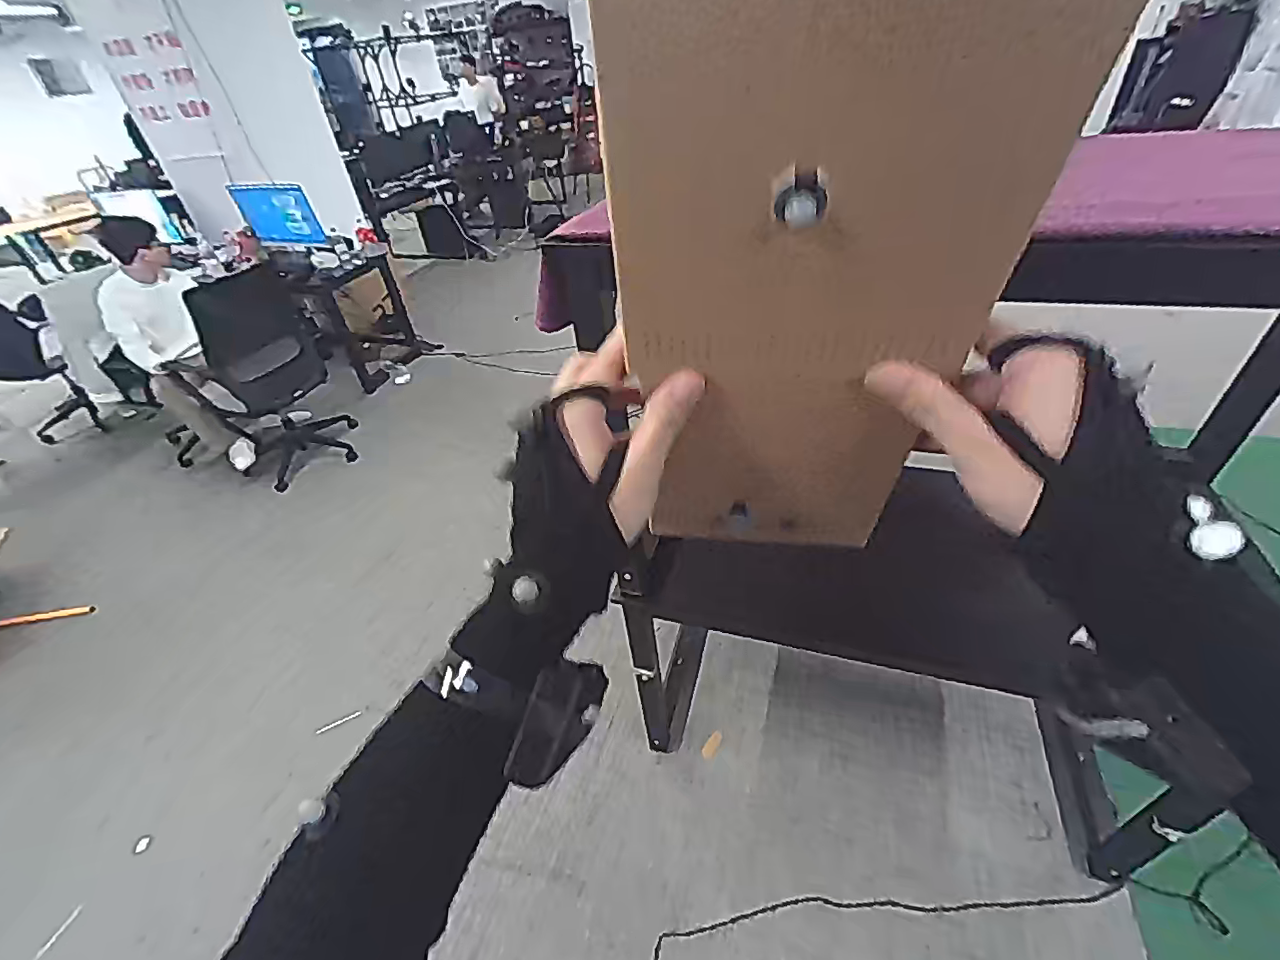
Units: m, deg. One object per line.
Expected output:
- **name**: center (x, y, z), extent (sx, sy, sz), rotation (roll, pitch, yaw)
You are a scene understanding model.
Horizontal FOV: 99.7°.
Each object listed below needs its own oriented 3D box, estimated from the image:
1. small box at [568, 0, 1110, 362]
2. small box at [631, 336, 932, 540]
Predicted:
- **small box**: center (0.076, -0.175, 0.277), extent (0.179, 0.176, 0.168), rotation (2, 51, 8)
- **small box**: center (0.088, -0.077, 0.408), extent (0.168, 0.176, 0.179), rotation (3, 51, 7)
